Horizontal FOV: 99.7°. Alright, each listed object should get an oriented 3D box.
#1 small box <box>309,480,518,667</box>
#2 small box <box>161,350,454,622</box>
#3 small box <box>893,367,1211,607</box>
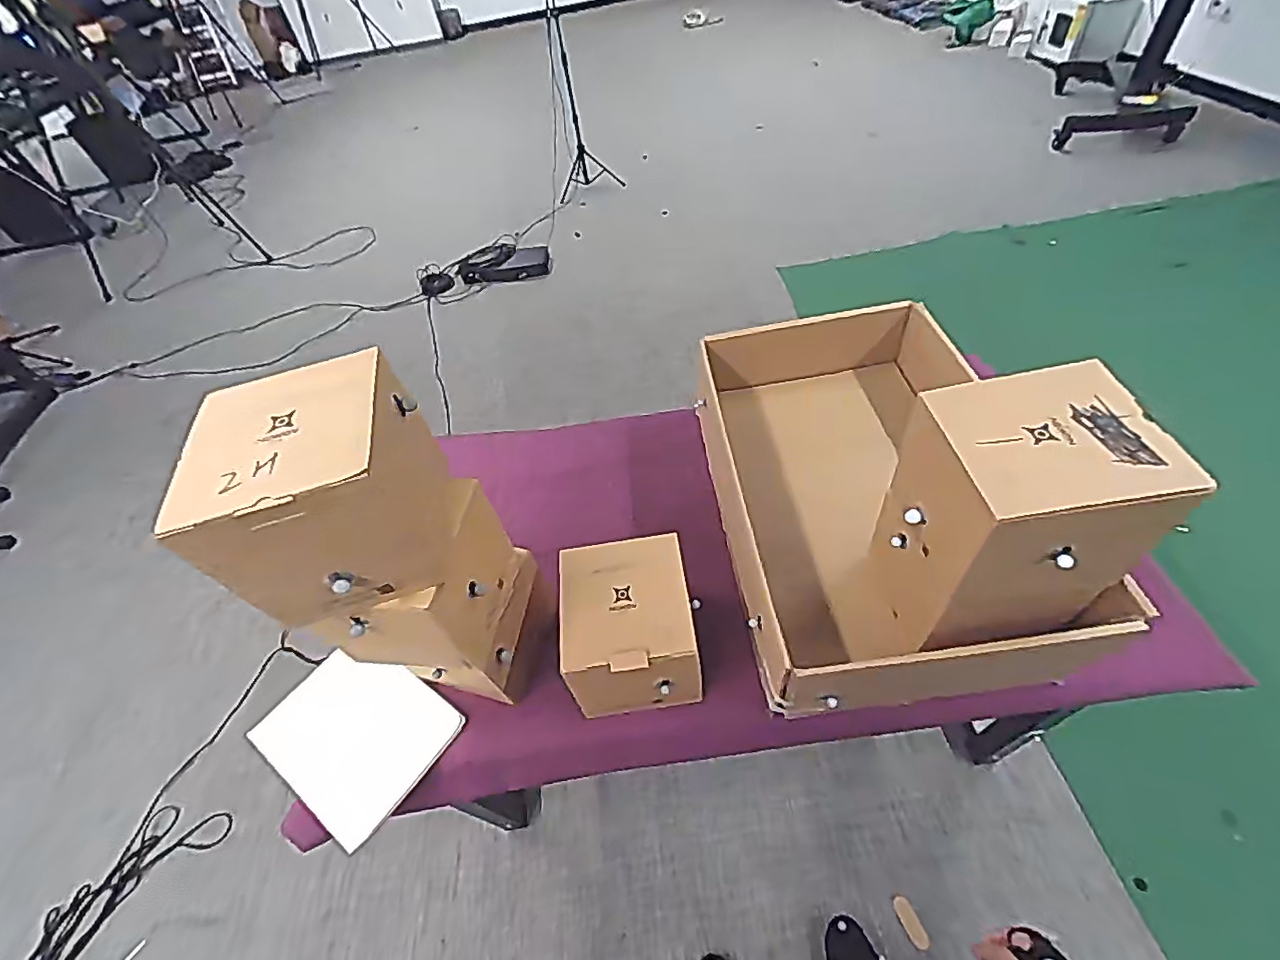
[{"bbox_3d":[-0.266,0.113,0.648,0.179,0.176,0.168,1,51,11],"label":"small box"},{"bbox_3d":[-0.292,0.008,0.525,0.168,0.176,0.179,-17,50,-4],"label":"small box"},{"bbox_3d":[0.388,0.013,0.555,0.179,0.176,0.168,-9,49,5],"label":"small box"}]
